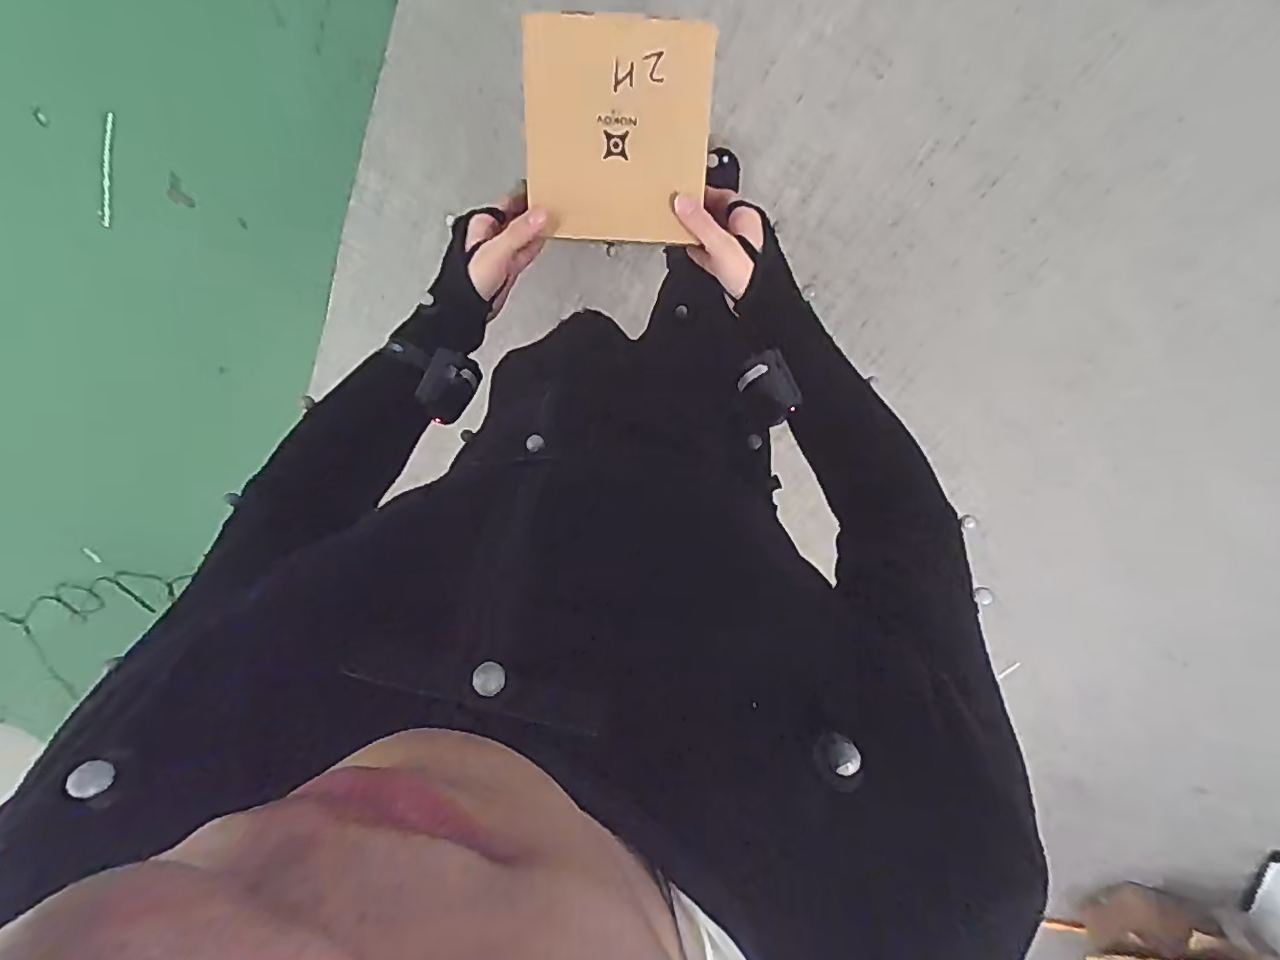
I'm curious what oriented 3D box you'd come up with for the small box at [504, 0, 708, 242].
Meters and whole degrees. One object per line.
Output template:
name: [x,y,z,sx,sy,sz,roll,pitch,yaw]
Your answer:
small box: [-0.035,-0.338,0.534,0.168,0.176,0.179,3,114,-4]
